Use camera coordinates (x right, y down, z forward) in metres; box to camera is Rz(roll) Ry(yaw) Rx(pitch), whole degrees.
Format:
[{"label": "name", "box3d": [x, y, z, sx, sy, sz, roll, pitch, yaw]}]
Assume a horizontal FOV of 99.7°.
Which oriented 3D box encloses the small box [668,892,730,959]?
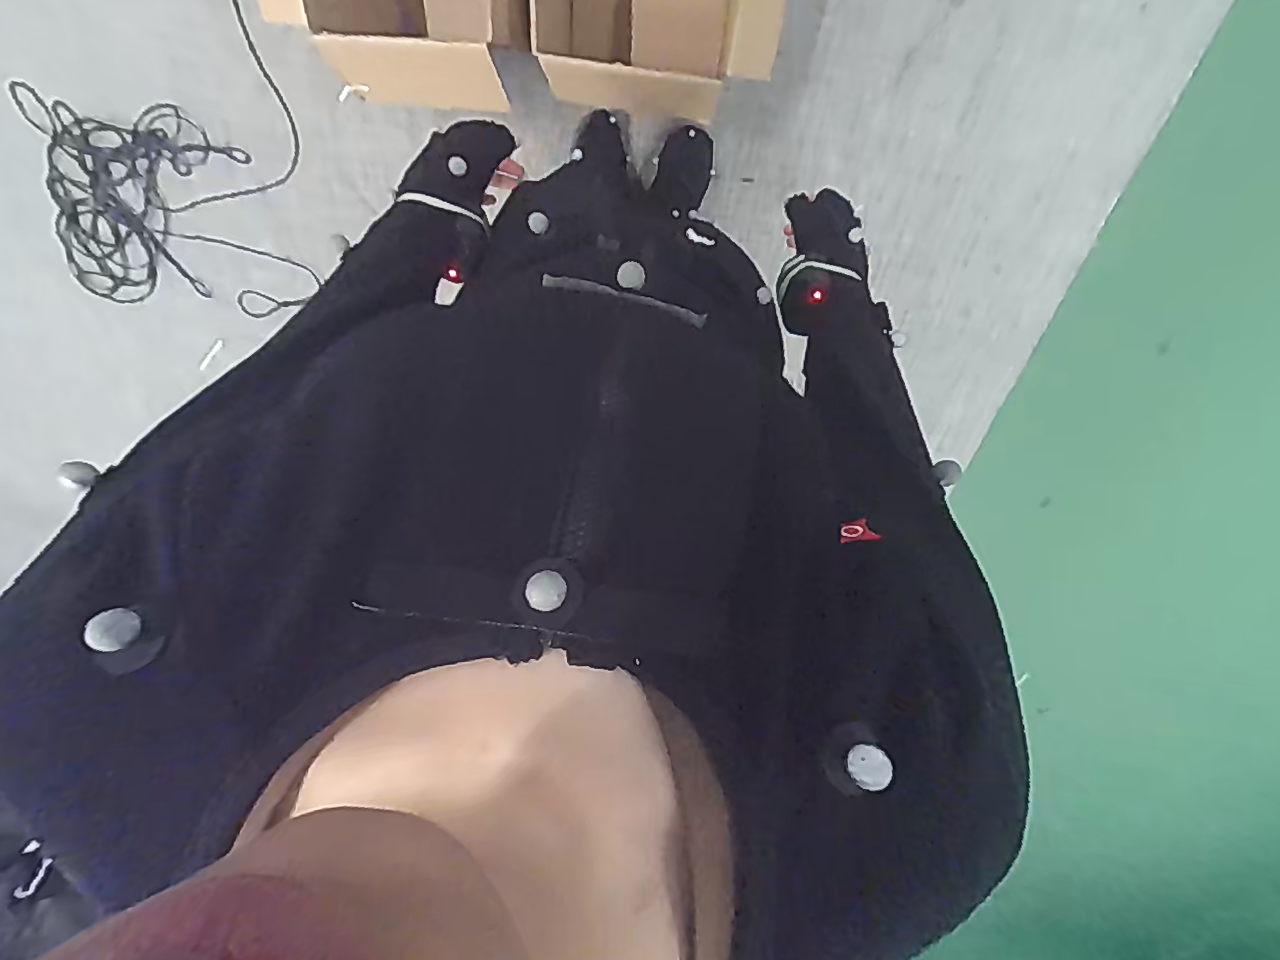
[{"label": "small box", "box3d": [0.183, 1.424, 1.685, 0.168, 0.176, 0.179, 7, 126, 0]}]
